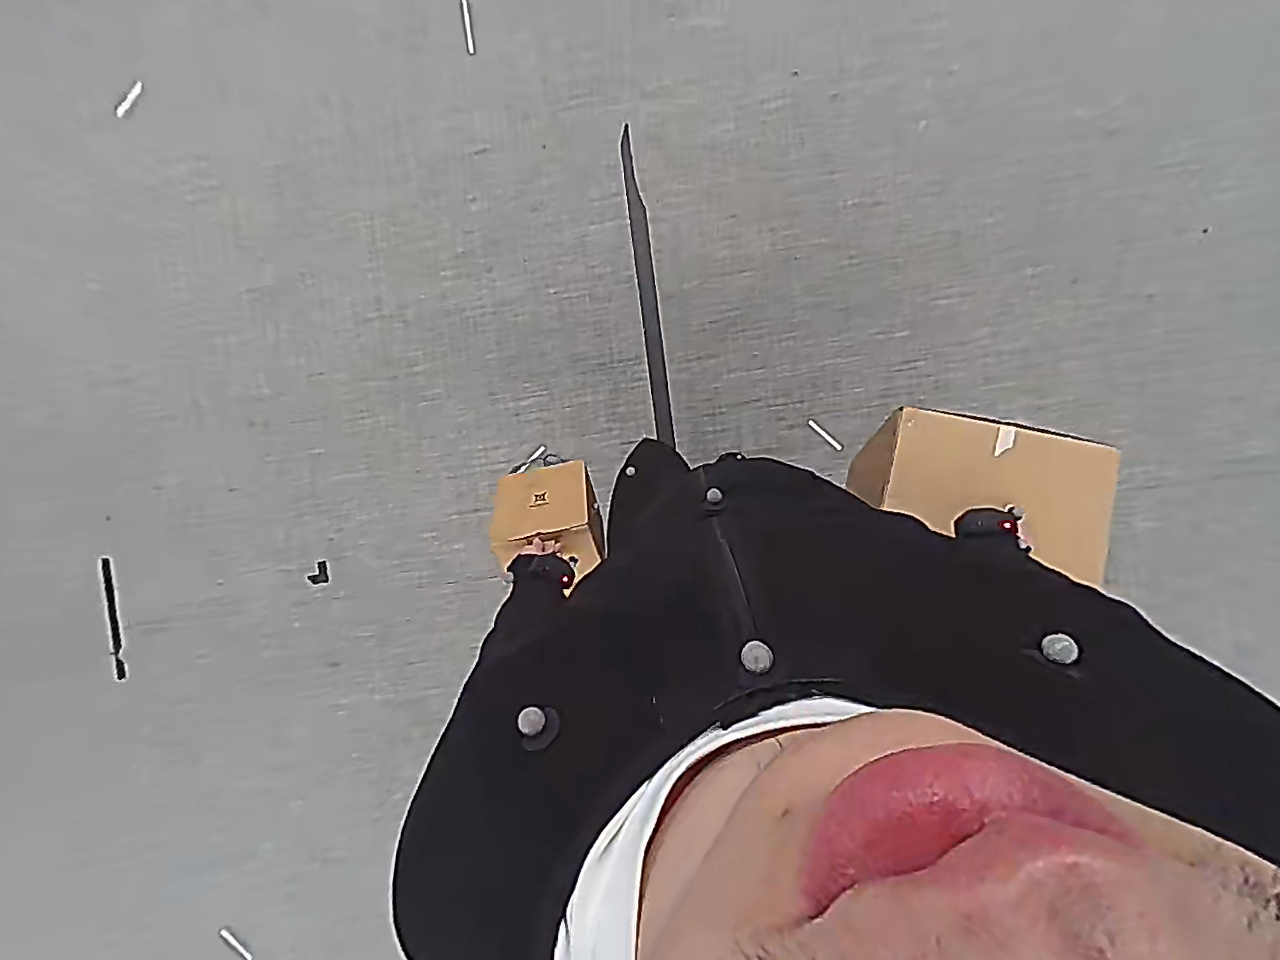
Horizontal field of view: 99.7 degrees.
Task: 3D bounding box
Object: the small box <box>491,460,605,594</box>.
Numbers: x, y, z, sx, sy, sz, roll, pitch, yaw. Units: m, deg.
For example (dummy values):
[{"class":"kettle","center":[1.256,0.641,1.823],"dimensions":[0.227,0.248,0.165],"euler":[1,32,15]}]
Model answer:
[{"class":"small box","center":[-0.164,0.094,1.007],"dimensions":[0.168,0.179,0.176],"euler":[-11,131,0]}]
